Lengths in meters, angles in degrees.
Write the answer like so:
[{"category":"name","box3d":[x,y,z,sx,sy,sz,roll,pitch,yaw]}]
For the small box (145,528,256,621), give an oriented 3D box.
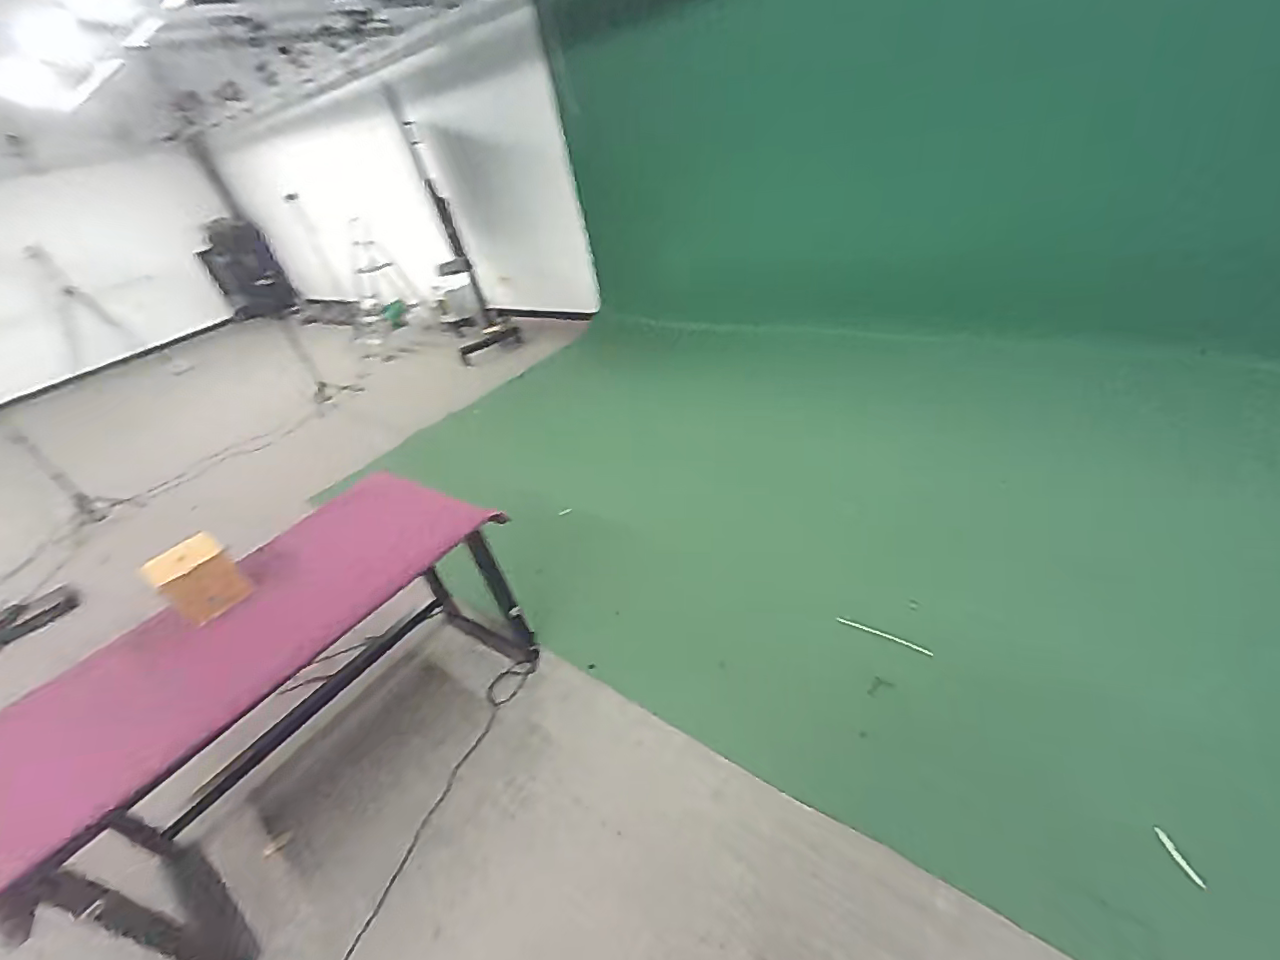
[{"category":"small box","box3d":[-1.247,0.270,1.540,0.179,0.176,0.168,19,45,35]}]
